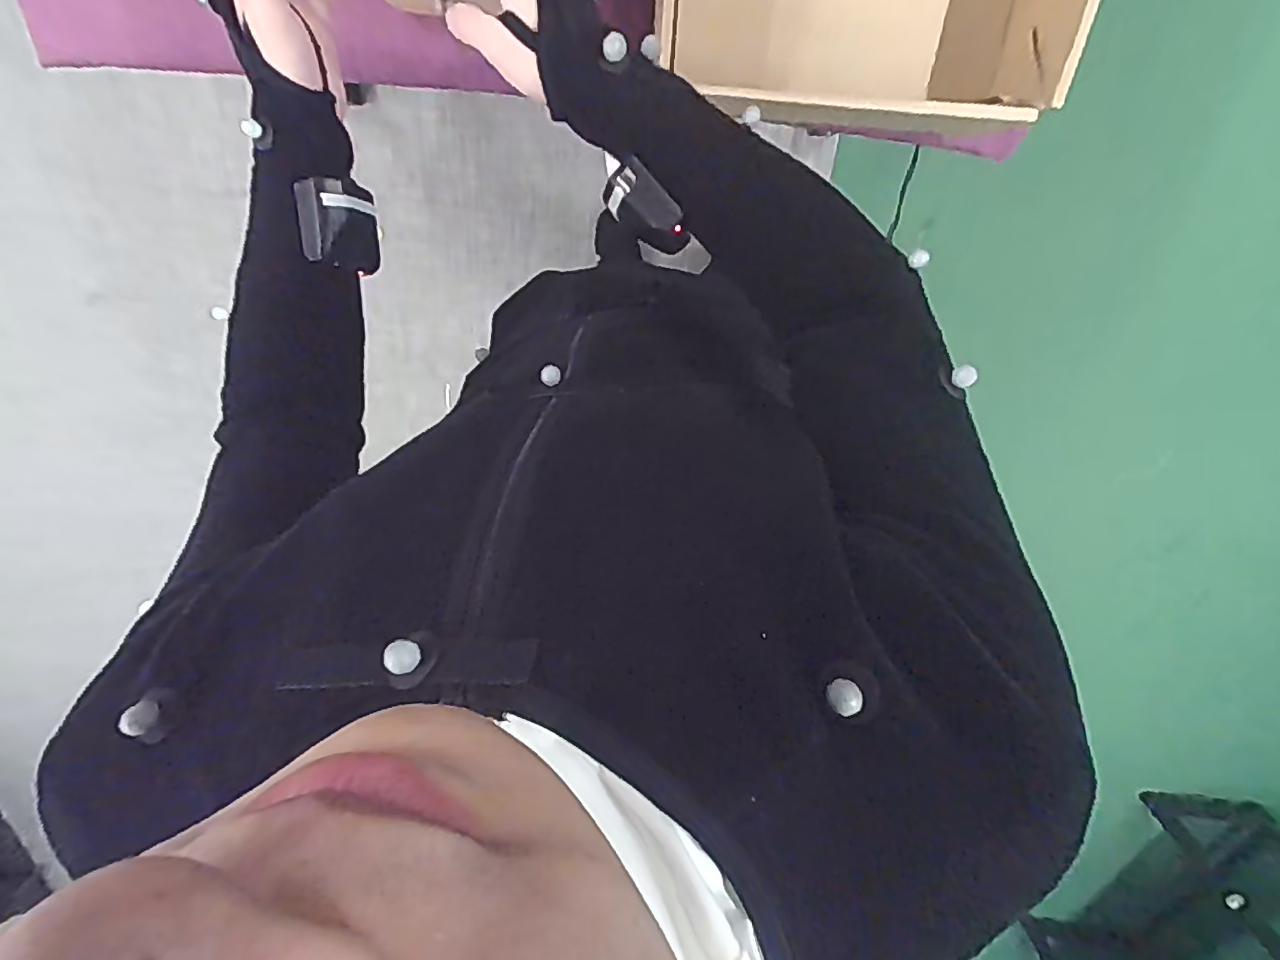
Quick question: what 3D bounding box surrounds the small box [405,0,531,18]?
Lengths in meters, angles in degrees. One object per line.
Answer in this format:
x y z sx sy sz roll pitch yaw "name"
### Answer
-0.201 -0.589 0.529 0.168 0.176 0.179 4 117 -3 "small box"
